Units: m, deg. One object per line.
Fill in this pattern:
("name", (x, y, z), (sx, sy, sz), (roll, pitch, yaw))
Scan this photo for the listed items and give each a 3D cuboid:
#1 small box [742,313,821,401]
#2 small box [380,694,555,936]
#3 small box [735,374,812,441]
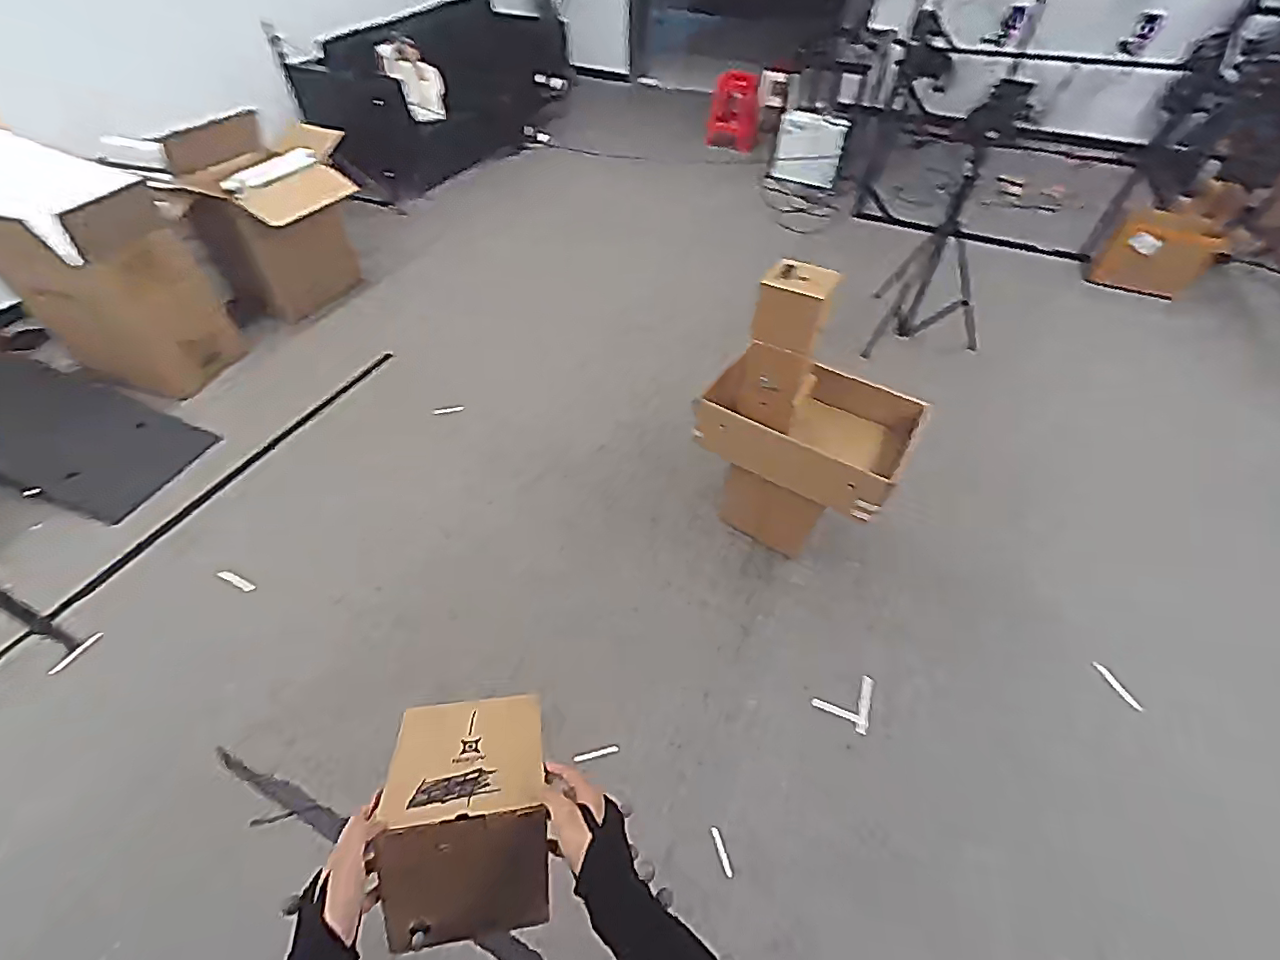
("small box", (0.415, -0.365, 1.608), (0.168, 0.176, 0.179), (22, 51, 18))
("small box", (-0.187, 0.384, 0.631), (0.168, 0.176, 0.179), (-1, 17, -12))
("small box", (0.420, -0.252, 1.726), (0.179, 0.176, 0.168), (25, 53, 19))
